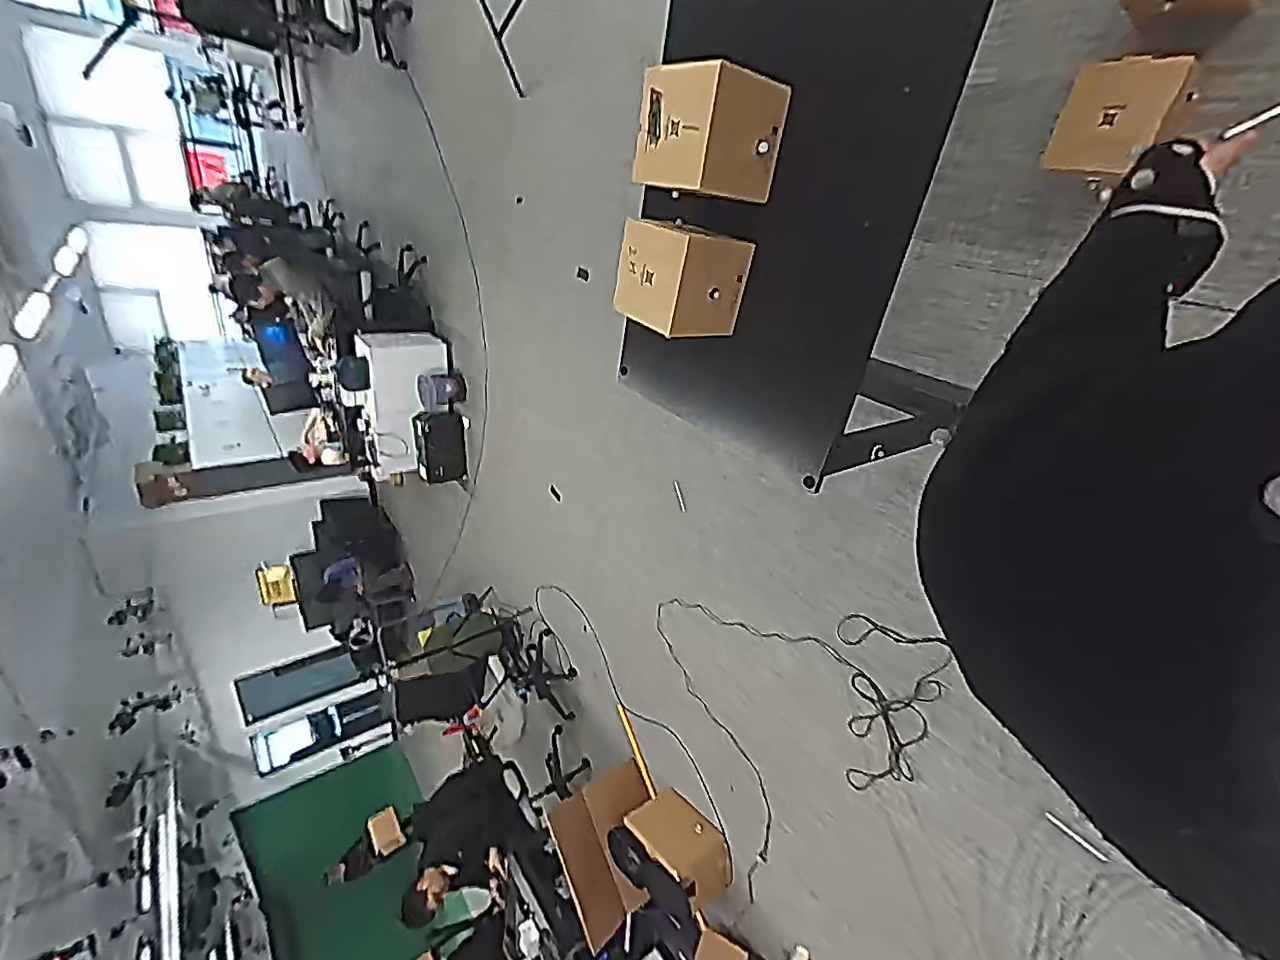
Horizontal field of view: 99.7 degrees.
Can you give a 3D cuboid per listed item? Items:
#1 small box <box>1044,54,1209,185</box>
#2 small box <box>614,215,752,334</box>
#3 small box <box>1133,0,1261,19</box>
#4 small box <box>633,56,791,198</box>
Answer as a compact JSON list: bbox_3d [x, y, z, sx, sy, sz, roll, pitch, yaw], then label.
[{"bbox_3d":[0.924,-0.677,1.028,0.168,0.176,0.179,37,129,42],"label":"small box"},{"bbox_3d":[0.078,-0.382,1.005,0.179,0.176,0.168,40,130,39],"label":"small box"},{"bbox_3d":[0.964,-0.904,0.901,0.179,0.176,0.168,36,128,42],"label":"small box"},{"bbox_3d":[0.115,-0.575,0.898,0.179,0.176,0.168,36,127,41],"label":"small box"}]
